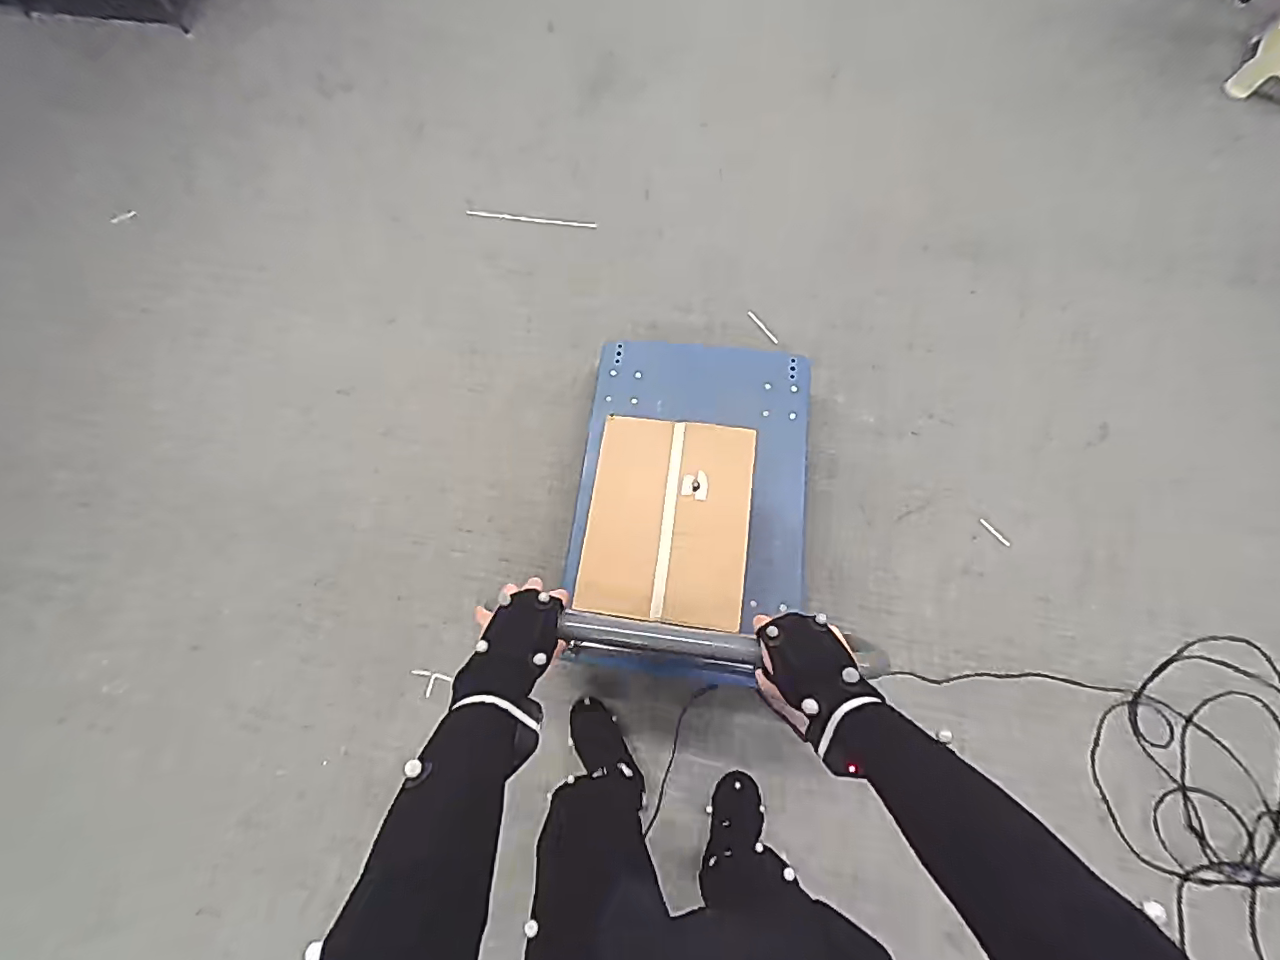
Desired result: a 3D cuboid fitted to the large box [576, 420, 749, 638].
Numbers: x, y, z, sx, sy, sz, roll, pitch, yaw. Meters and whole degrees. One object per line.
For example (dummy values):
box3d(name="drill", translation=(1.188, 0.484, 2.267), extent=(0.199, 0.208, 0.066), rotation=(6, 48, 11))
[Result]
box3d(name="large box", translation=(0.062, 0.124, 1.215), extent=(0.320, 0.320, 0.408), rotation=(7, 70, 6))
